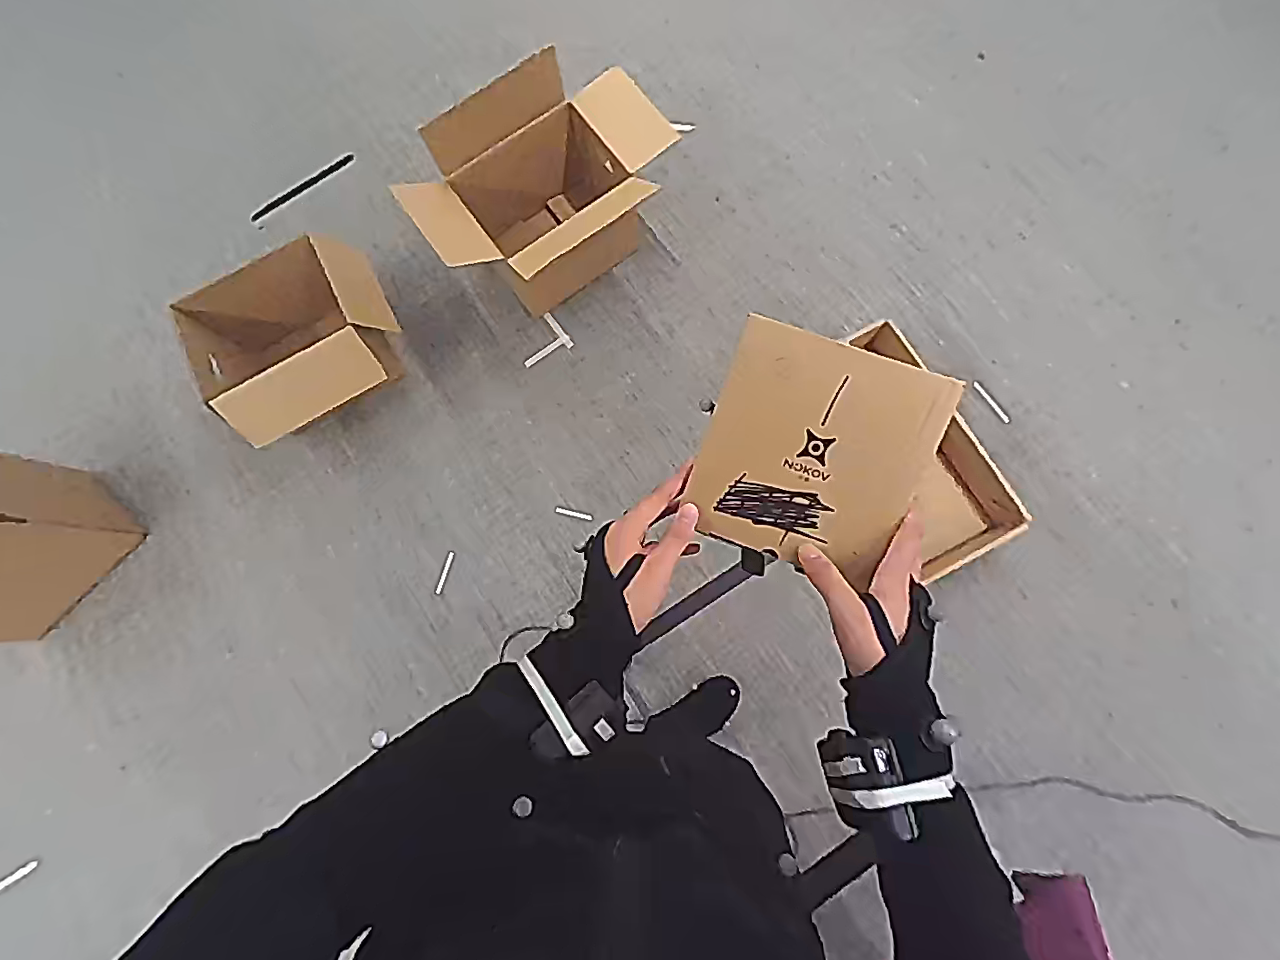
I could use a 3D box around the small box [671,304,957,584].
[{"bbox_3d":[0.141,-0.038,0.490,0.168,0.176,0.179,20,102,6],"label":"small box"}]
